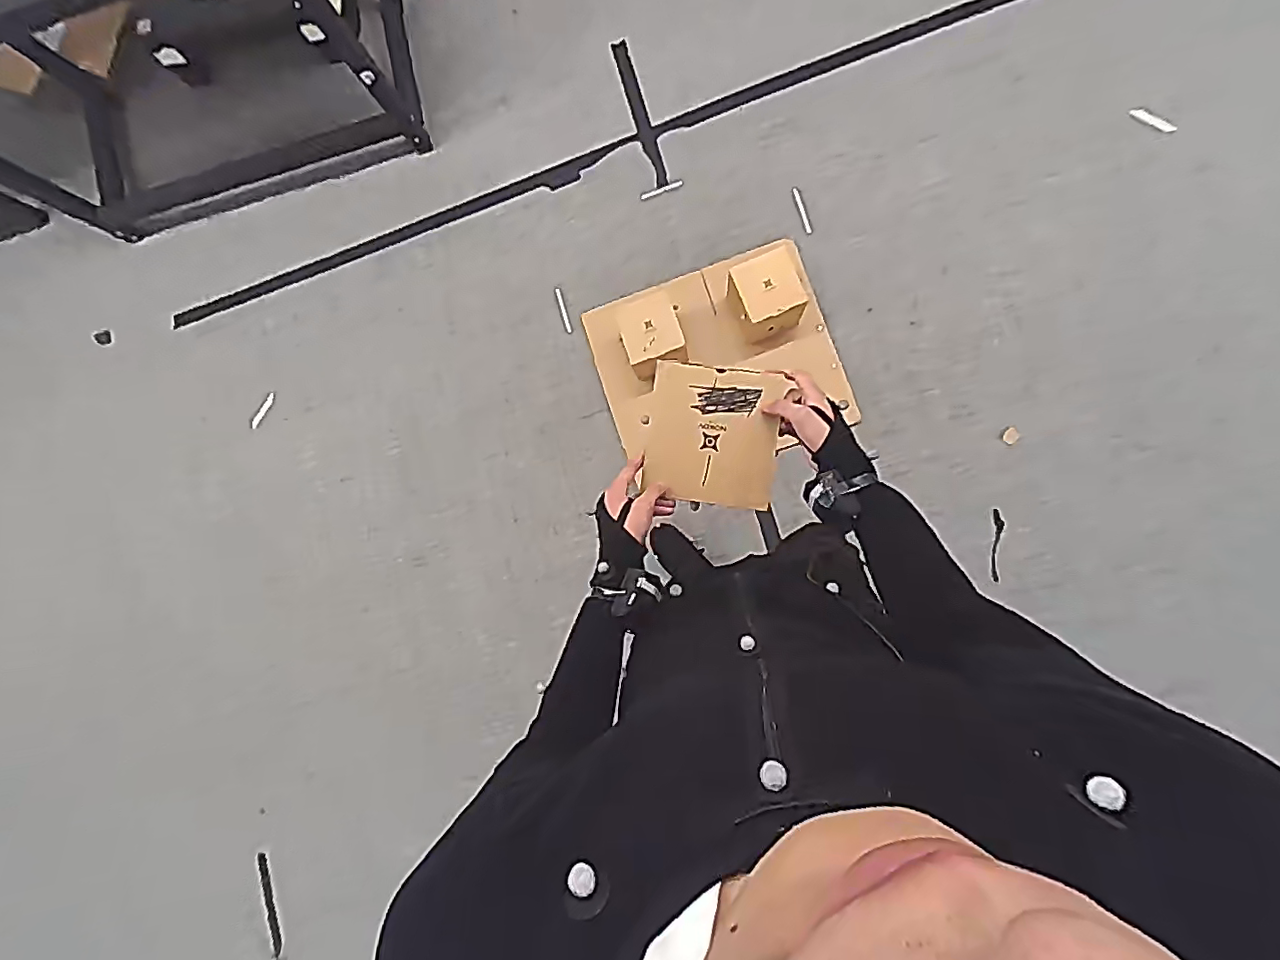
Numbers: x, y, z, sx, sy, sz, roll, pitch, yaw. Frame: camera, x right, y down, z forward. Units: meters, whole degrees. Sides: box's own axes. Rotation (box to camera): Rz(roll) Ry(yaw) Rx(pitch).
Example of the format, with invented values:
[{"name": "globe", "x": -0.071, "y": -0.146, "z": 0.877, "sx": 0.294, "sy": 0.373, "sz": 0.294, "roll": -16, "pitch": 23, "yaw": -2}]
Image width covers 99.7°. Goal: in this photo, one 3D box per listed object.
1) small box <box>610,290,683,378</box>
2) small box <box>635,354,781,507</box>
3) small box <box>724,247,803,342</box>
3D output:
[{"name": "small box", "x": 0.023, "y": -0.423, "z": 1.592, "sx": 0.168, "sy": 0.176, "sz": 0.179, "roll": -19, "pitch": 85, "yaw": 6}, {"name": "small box", "x": 0.089, "y": -0.064, "z": 0.762, "sx": 0.168, "sy": 0.176, "sz": 0.179, "roll": 8, "pitch": 92, "yaw": 4}, {"name": "small box", "x": 0.349, "y": -0.530, "z": 1.569, "sx": 0.168, "sy": 0.176, "sz": 0.179, "roll": -23, "pitch": 84, "yaw": 5}]
